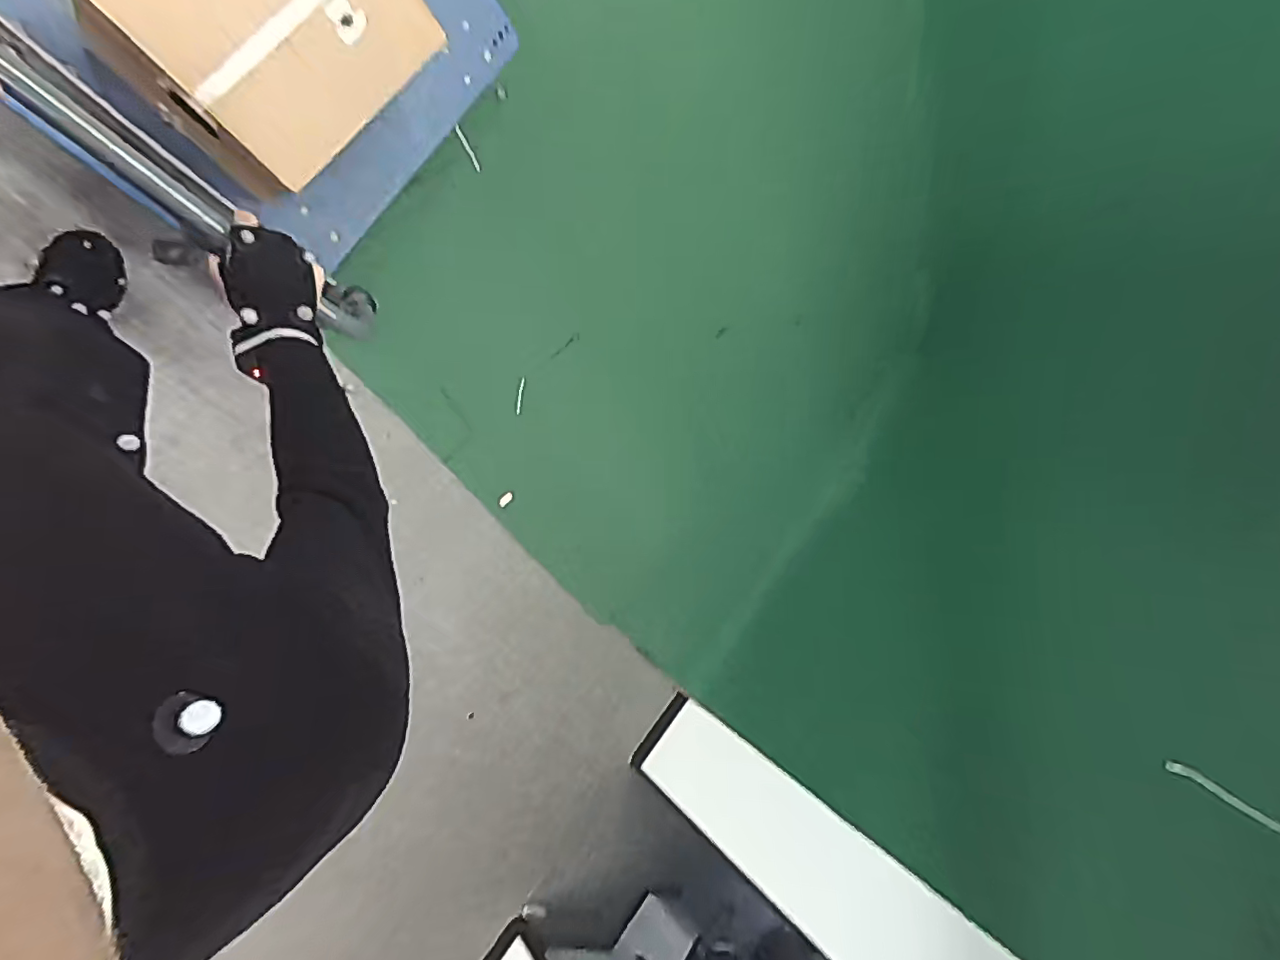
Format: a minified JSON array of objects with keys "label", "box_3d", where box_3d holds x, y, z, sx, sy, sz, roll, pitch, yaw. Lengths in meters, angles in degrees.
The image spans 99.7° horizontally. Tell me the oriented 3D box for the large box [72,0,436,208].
[{"label":"large box","box_3d":[-0.649,-0.751,0.939,0.408,0.320,0.320,-56,136,-12]}]
